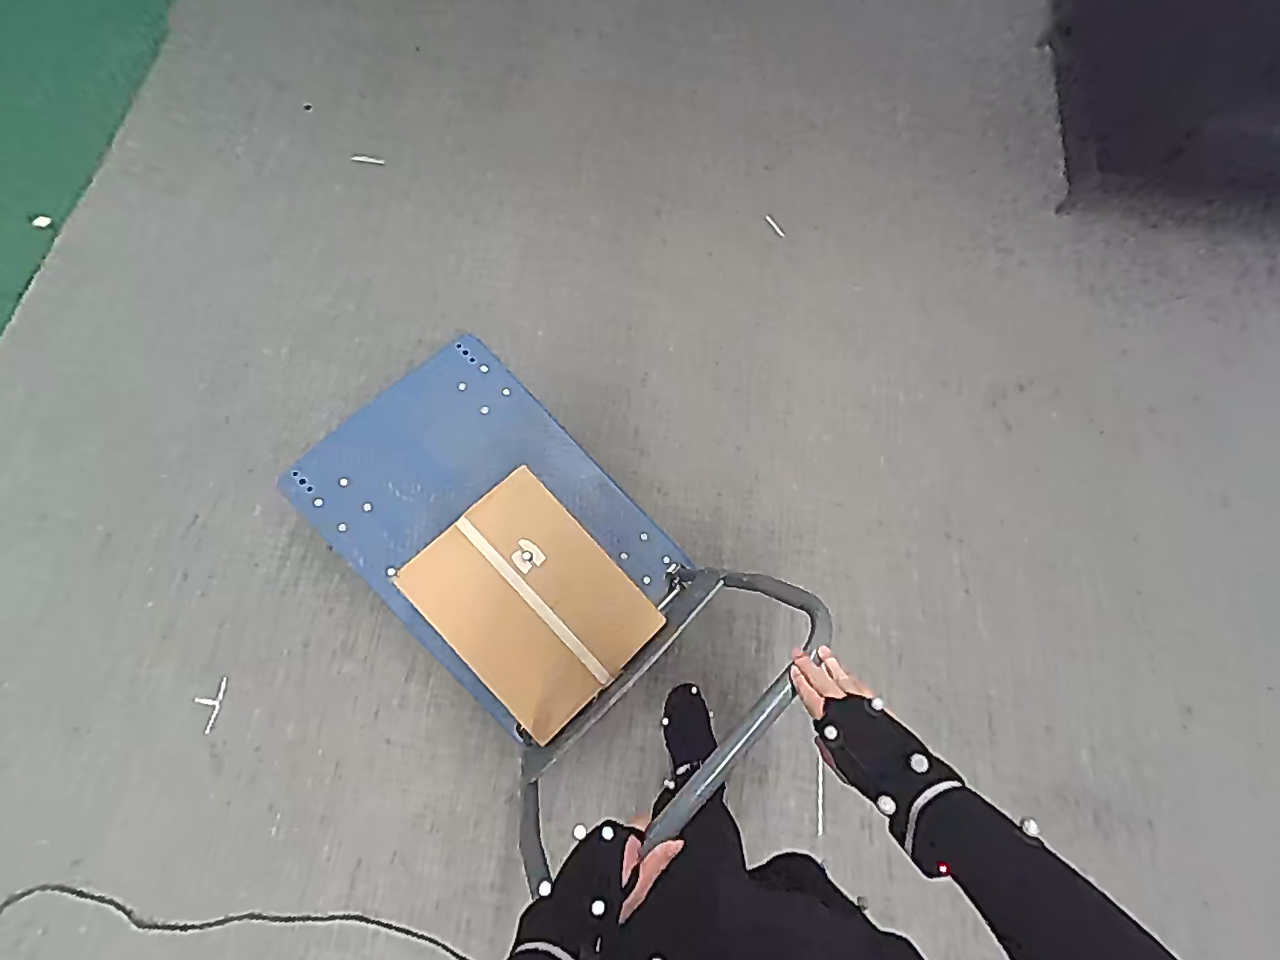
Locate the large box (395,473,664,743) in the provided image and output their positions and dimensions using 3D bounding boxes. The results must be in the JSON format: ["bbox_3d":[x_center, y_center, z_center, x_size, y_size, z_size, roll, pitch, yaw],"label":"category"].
[{"bbox_3d":[-0.214,0.253,1.135,0.320,0.320,0.408,-43,87,-14],"label":"large box"}]
